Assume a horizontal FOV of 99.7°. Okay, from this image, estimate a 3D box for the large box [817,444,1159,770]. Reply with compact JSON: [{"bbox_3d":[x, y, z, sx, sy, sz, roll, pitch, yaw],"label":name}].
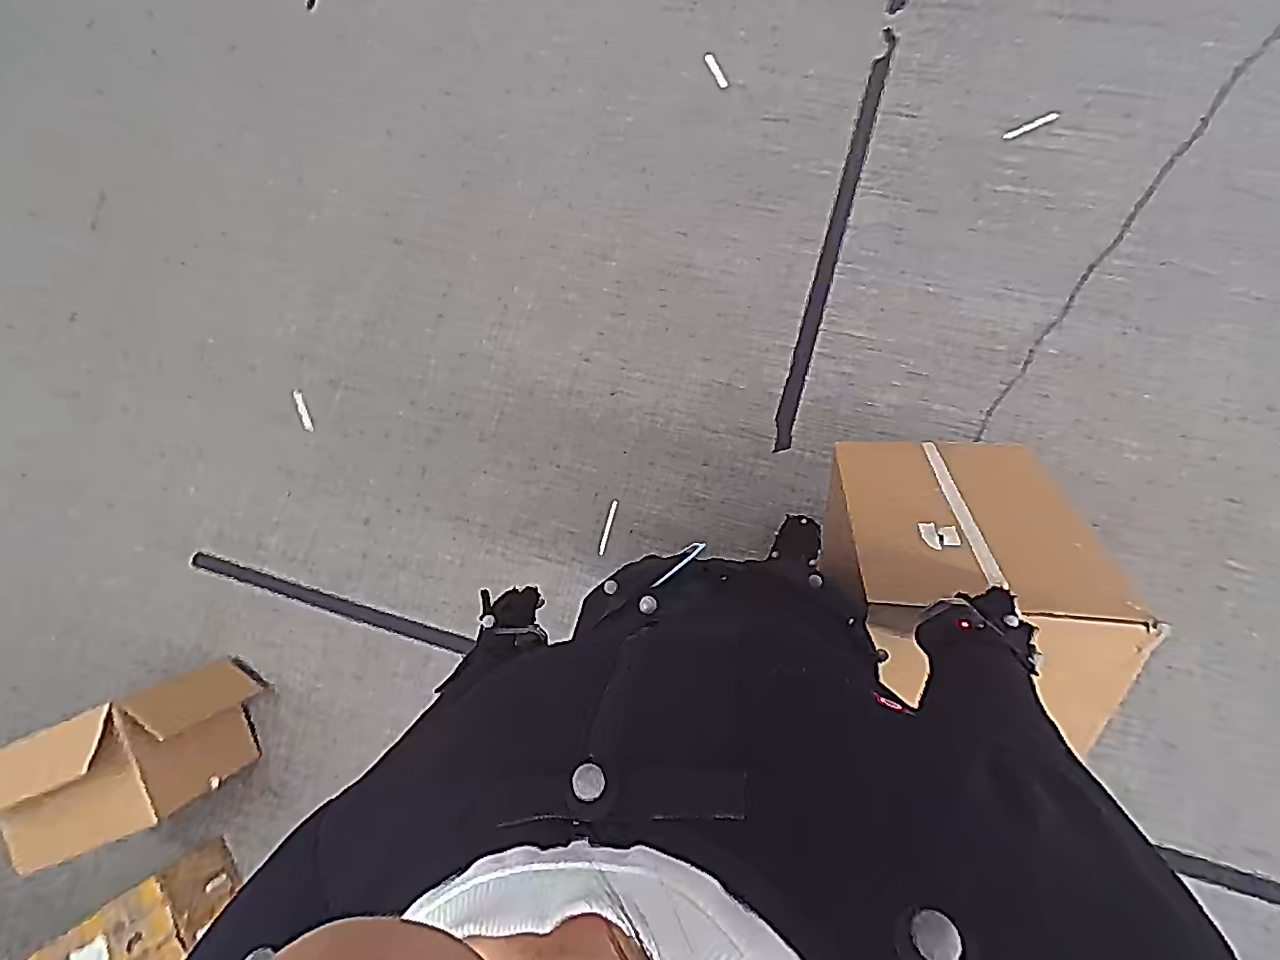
[{"bbox_3d":[0.481,0.177,0.878,0.320,0.408,0.320,2,125,12],"label":"large box"}]
